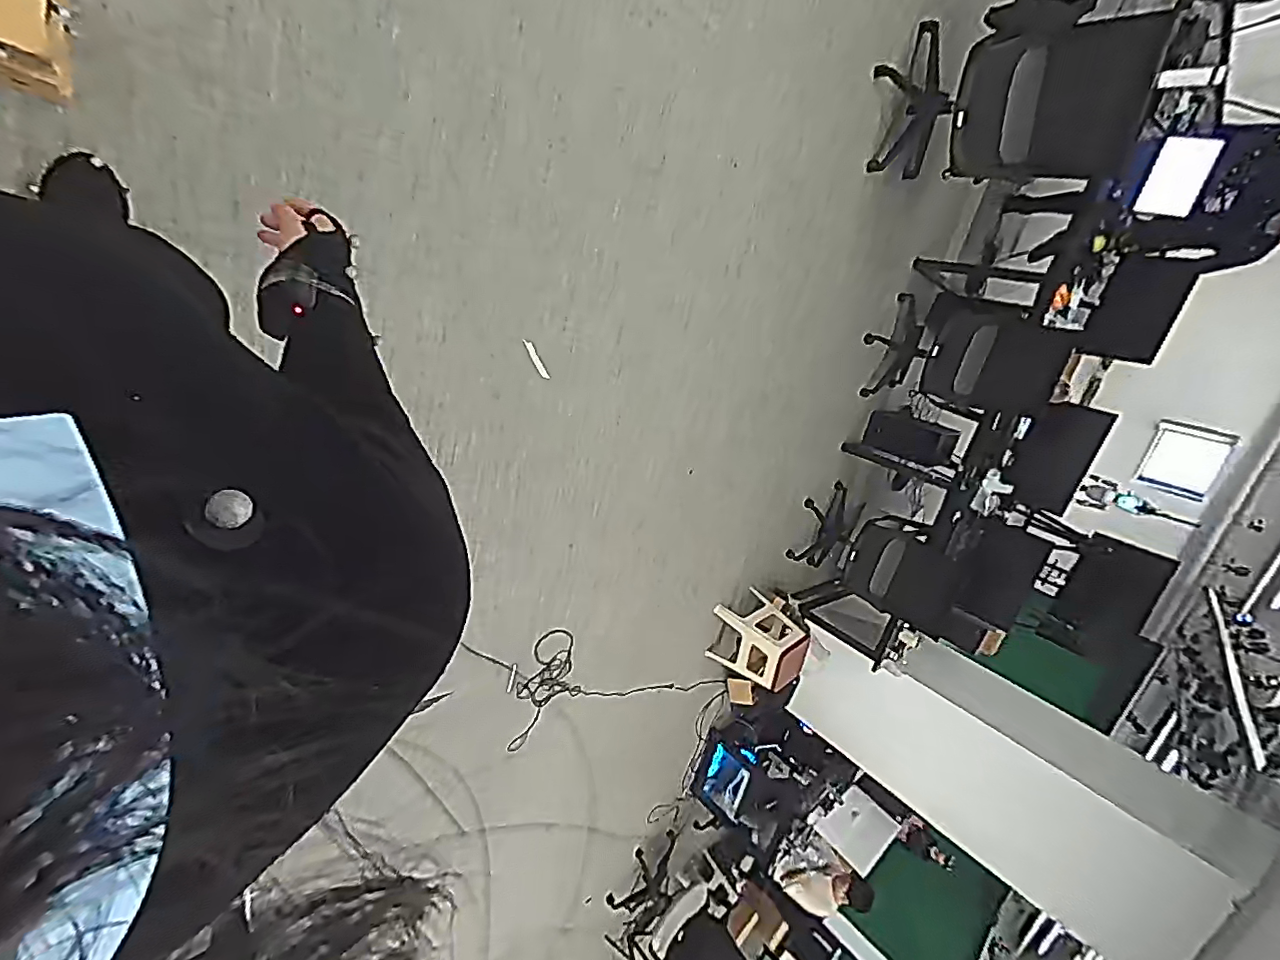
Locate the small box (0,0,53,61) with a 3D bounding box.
[{"bbox_3d":[-0.752,-0.579,0.568,0.179,0.176,0.168,0,113,-46],"label":"small box"}]

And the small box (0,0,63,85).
[{"bbox_3d":[-0.853,-0.638,0.682,0.168,0.176,0.179,5,108,-48],"label":"small box"}]
